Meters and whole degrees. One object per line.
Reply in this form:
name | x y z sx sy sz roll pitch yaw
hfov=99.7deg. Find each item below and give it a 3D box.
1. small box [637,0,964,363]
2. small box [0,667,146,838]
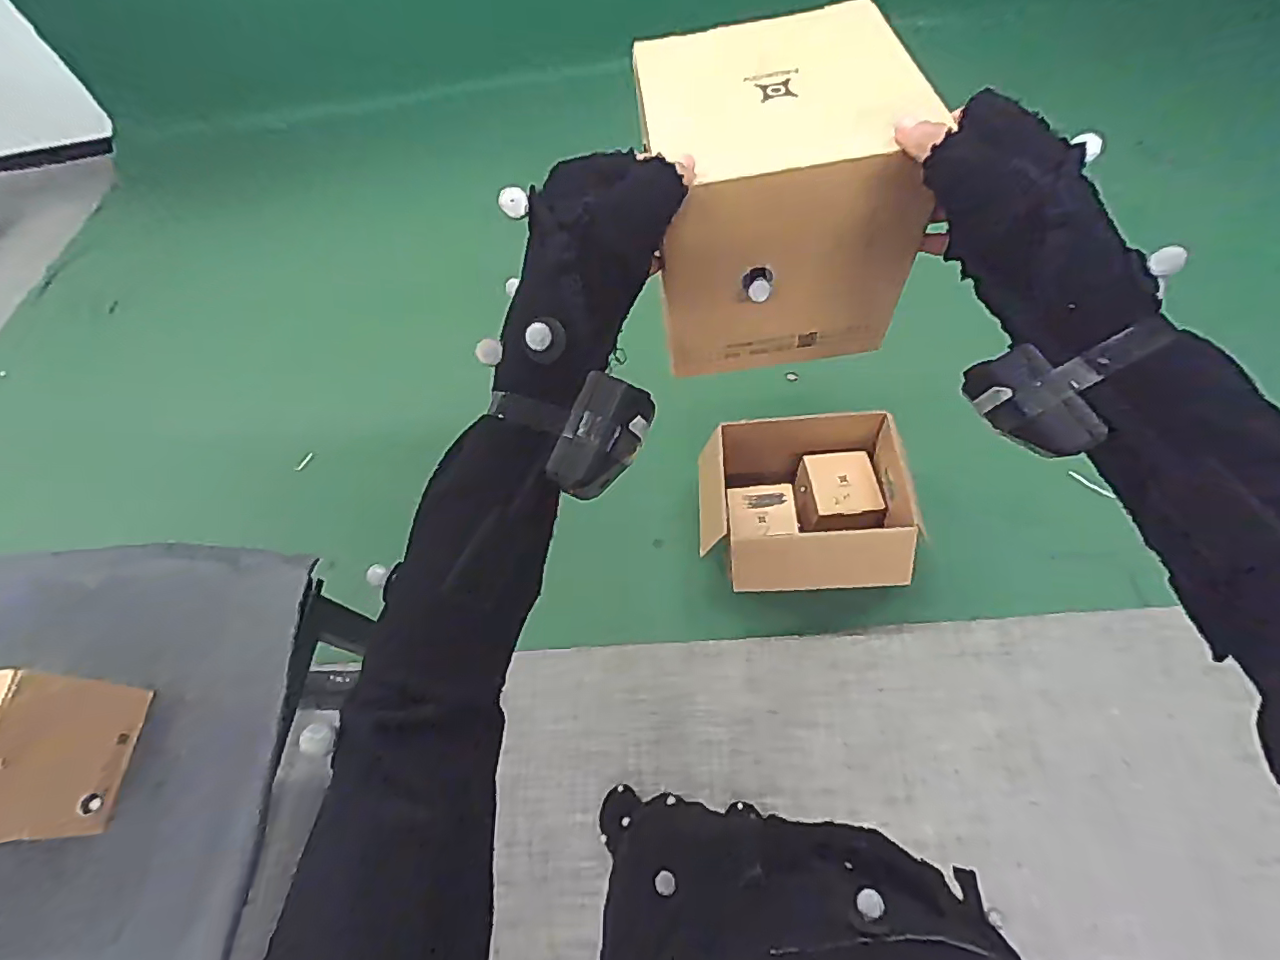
small box | 0.094 -0.203 0.395 0.168 0.176 0.179 -7 60 4
small box | -0.749 0.321 0.630 0.179 0.176 0.168 -6 60 6
